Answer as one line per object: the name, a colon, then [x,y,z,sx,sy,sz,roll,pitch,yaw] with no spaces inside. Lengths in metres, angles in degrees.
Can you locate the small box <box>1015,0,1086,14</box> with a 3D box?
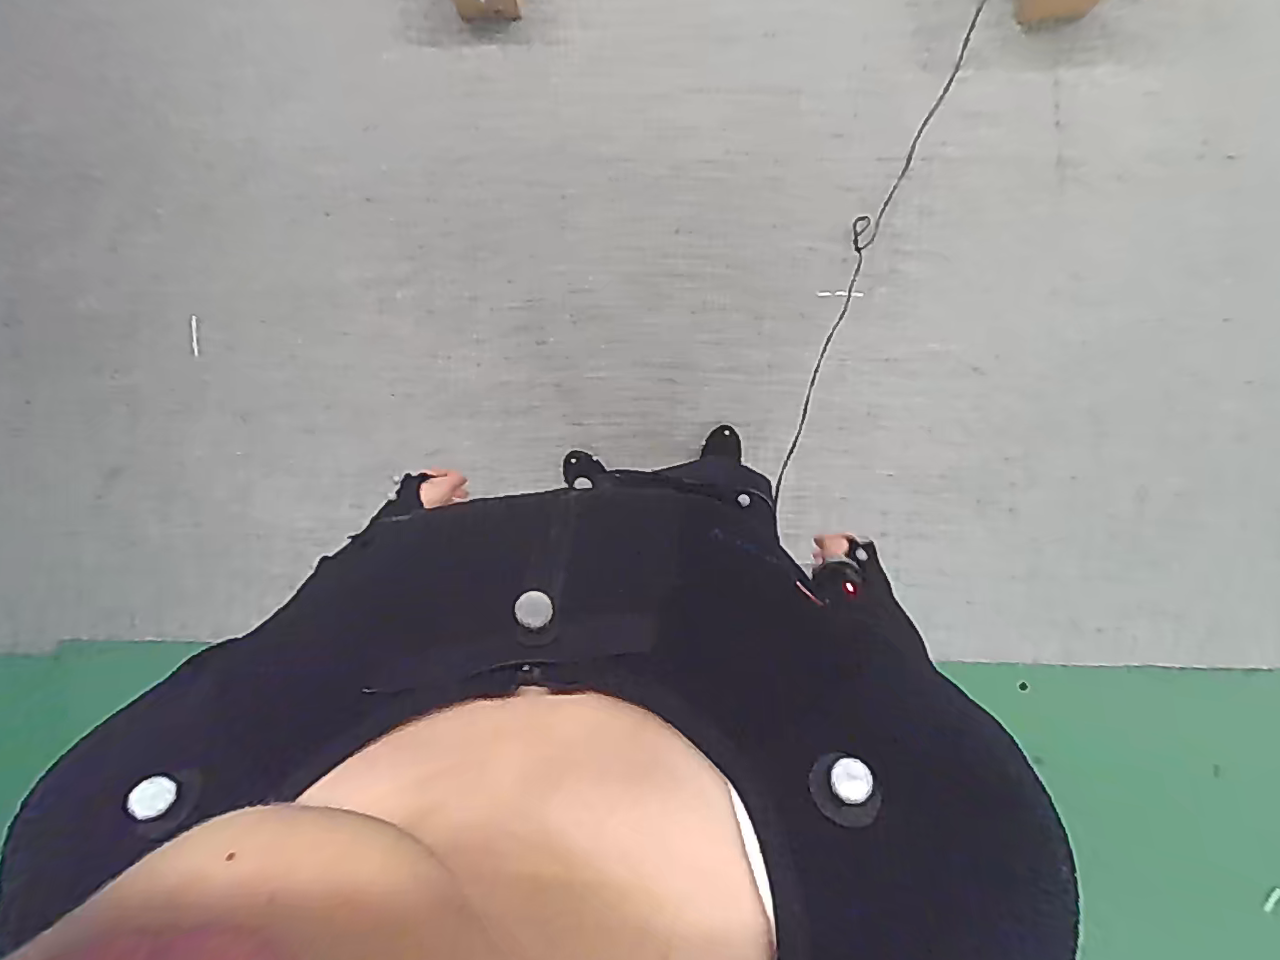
small box: [0.992,-1.219,1.239,0.179,0.176,0.168,-7,96,2]

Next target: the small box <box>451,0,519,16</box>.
small box: [-0.389,-1.259,1.291,0.168,0.176,0.179,1,96,2]
